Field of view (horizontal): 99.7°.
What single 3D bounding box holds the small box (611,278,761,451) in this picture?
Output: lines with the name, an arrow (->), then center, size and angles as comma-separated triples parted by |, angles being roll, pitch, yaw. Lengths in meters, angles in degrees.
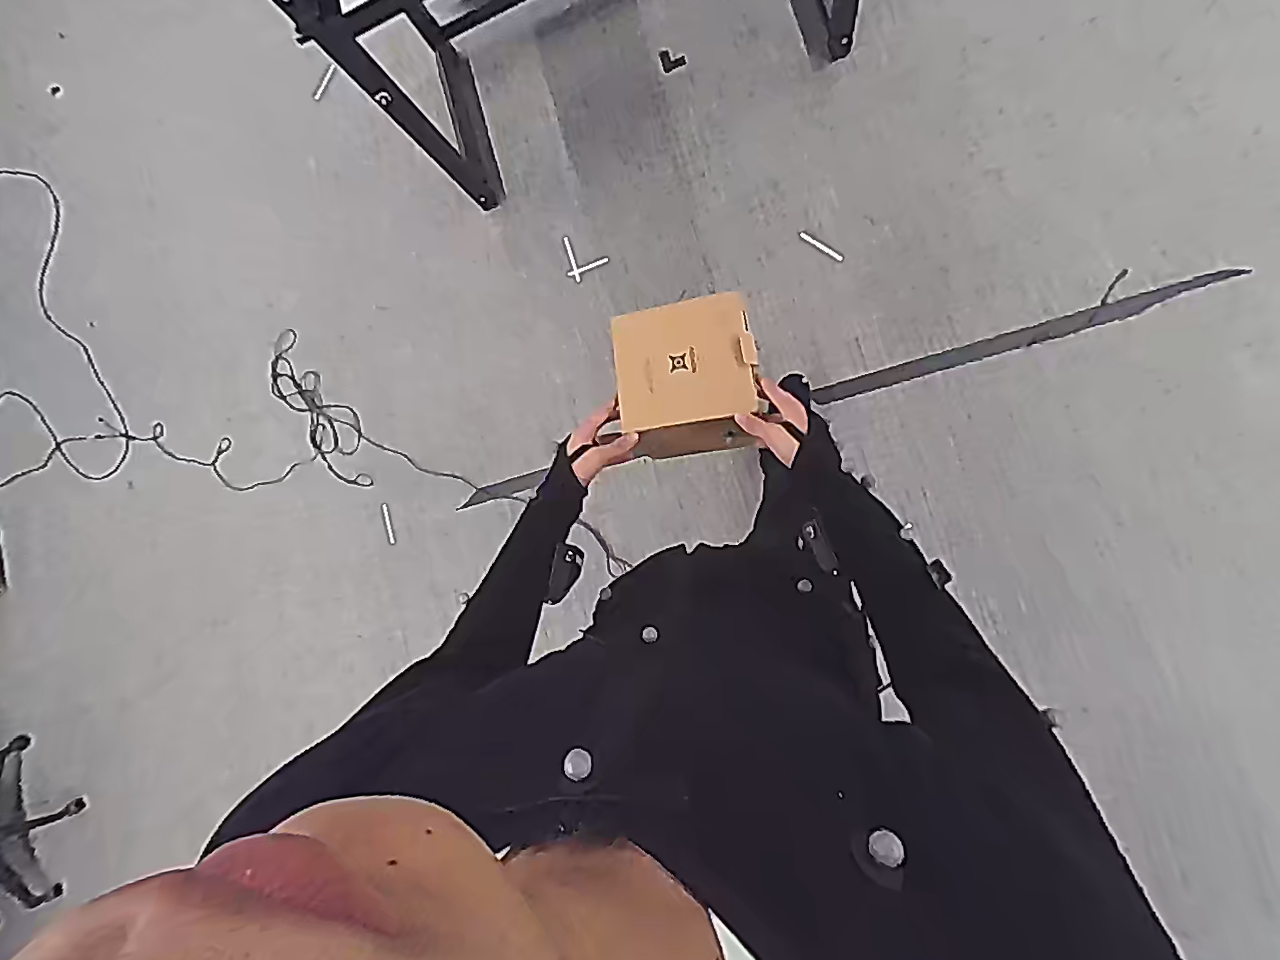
small box -> 0.070, -0.147, 0.749 | 0.179, 0.176, 0.168 | -8, 76, 13
